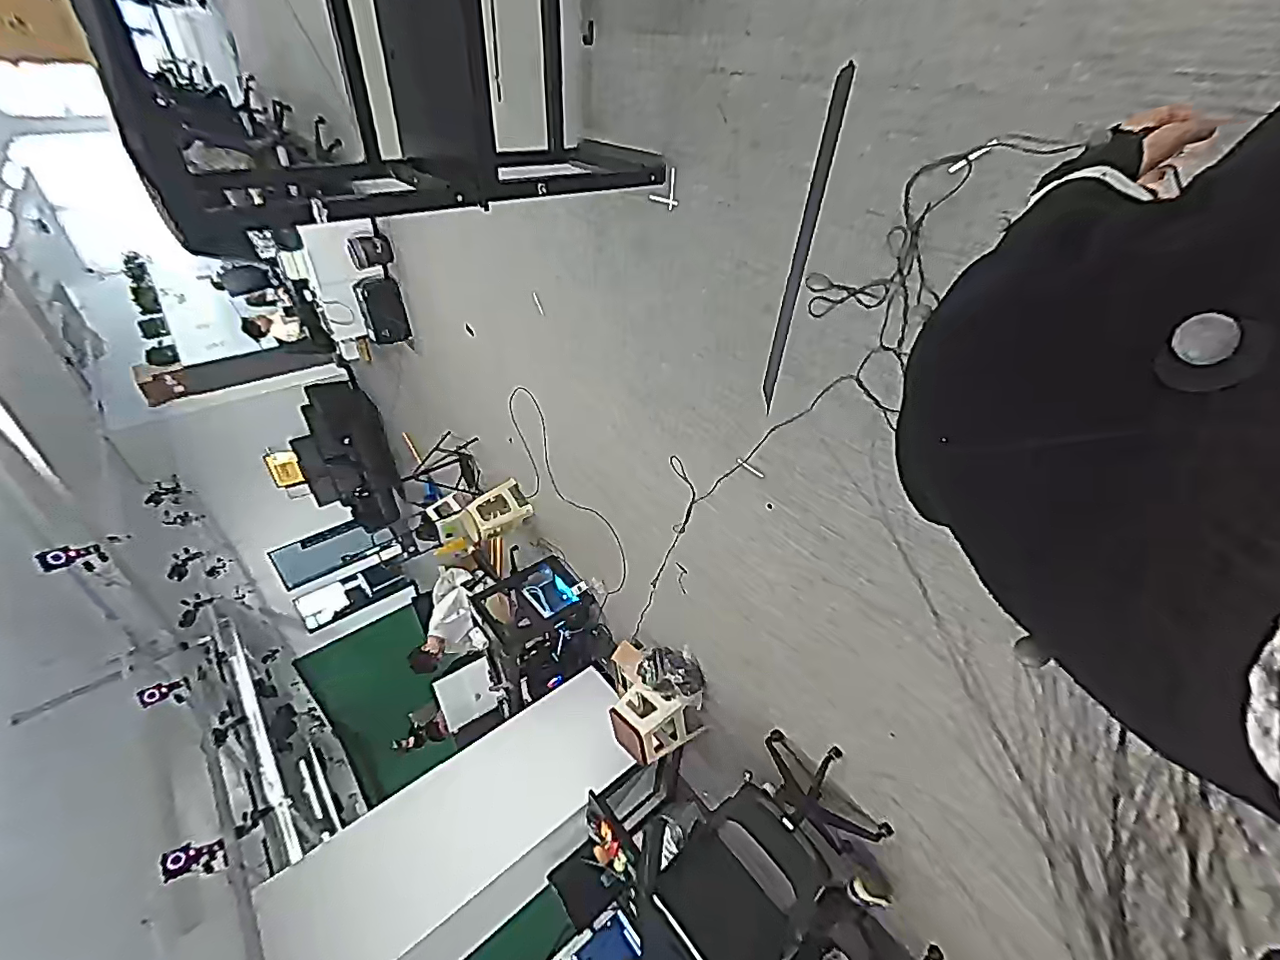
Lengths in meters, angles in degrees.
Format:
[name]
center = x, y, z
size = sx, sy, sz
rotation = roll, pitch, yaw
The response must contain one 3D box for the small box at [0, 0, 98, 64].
[small box]
center = -1.168, -0.893, 1.014
size = 0.179, 0.176, 0.168
rotation = 42, 142, 35
